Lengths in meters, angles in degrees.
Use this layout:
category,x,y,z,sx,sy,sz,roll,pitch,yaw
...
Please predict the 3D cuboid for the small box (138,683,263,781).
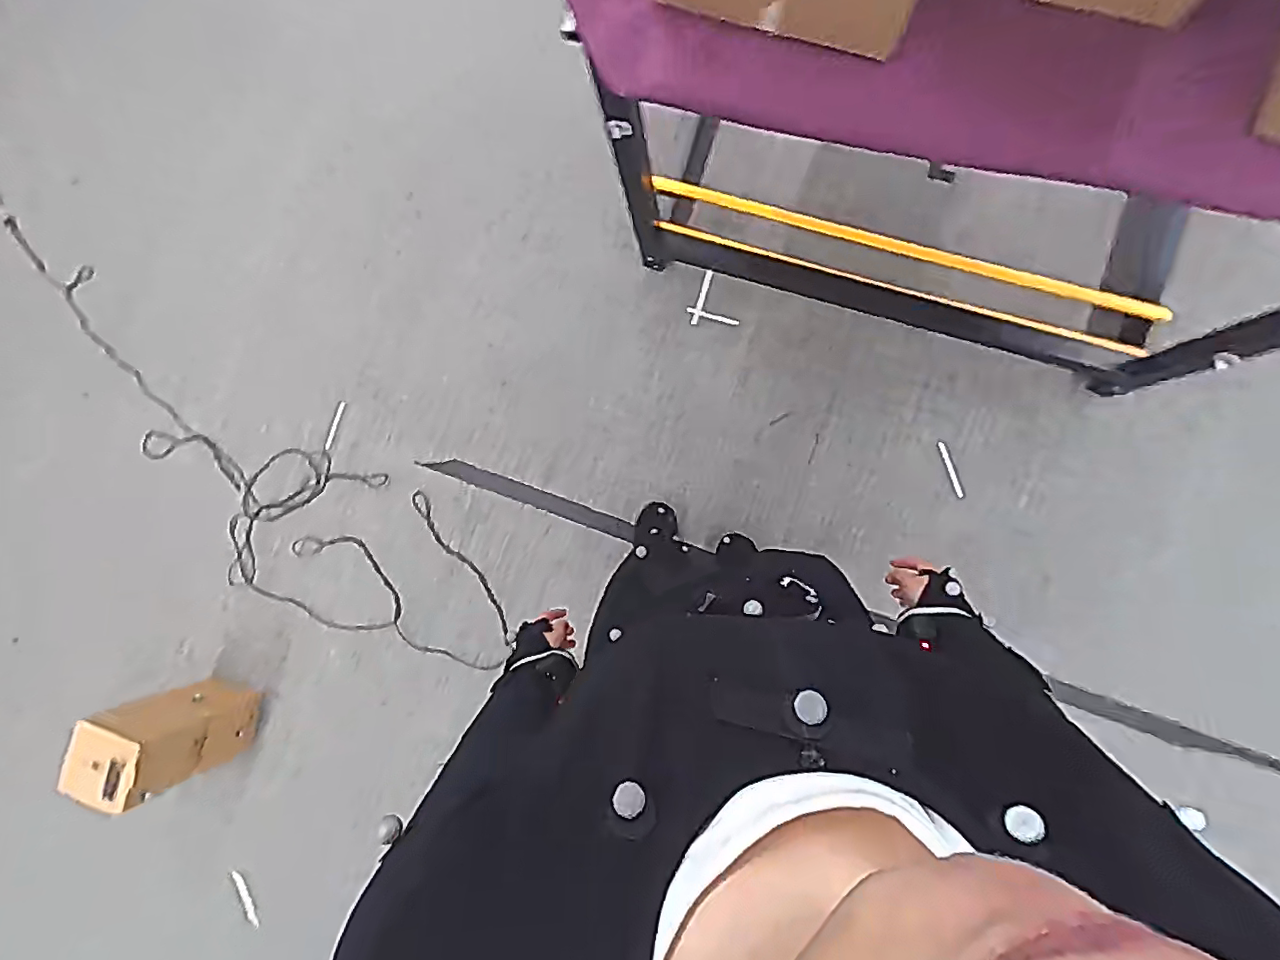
category,x,y,z,sx,sy,sz,roll,pitch,yaw
small box,-1.158,0.658,1.436,0.179,0.176,0.168,12,89,7
